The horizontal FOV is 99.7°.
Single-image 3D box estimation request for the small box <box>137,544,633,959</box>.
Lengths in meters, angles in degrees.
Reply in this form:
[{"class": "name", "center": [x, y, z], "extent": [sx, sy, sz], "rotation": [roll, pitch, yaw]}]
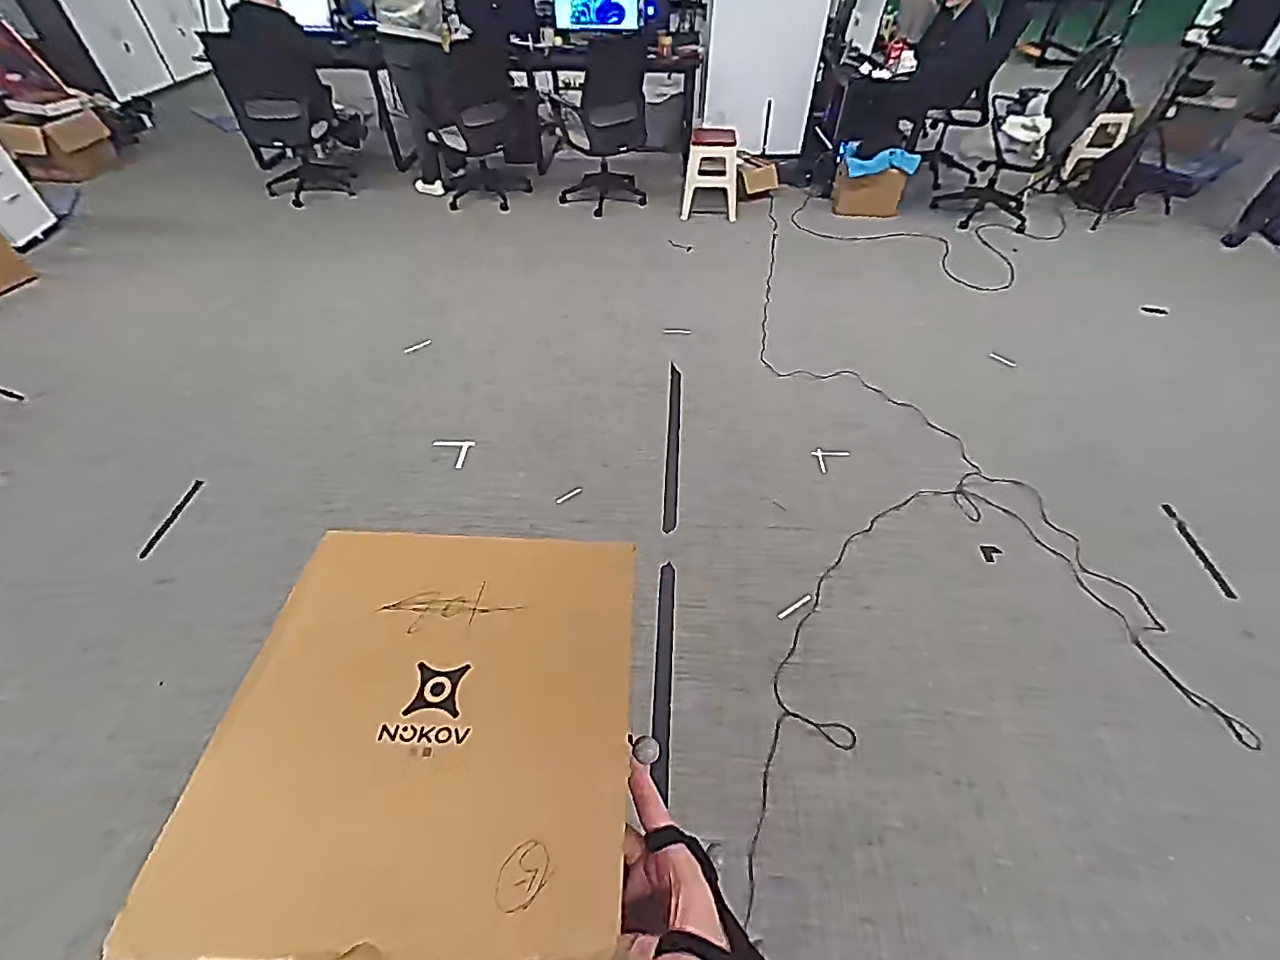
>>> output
[{"class": "small box", "center": [-0.090, 0.157, 0.297], "extent": [0.168, 0.176, 0.179], "rotation": [3, 45, -1]}]
